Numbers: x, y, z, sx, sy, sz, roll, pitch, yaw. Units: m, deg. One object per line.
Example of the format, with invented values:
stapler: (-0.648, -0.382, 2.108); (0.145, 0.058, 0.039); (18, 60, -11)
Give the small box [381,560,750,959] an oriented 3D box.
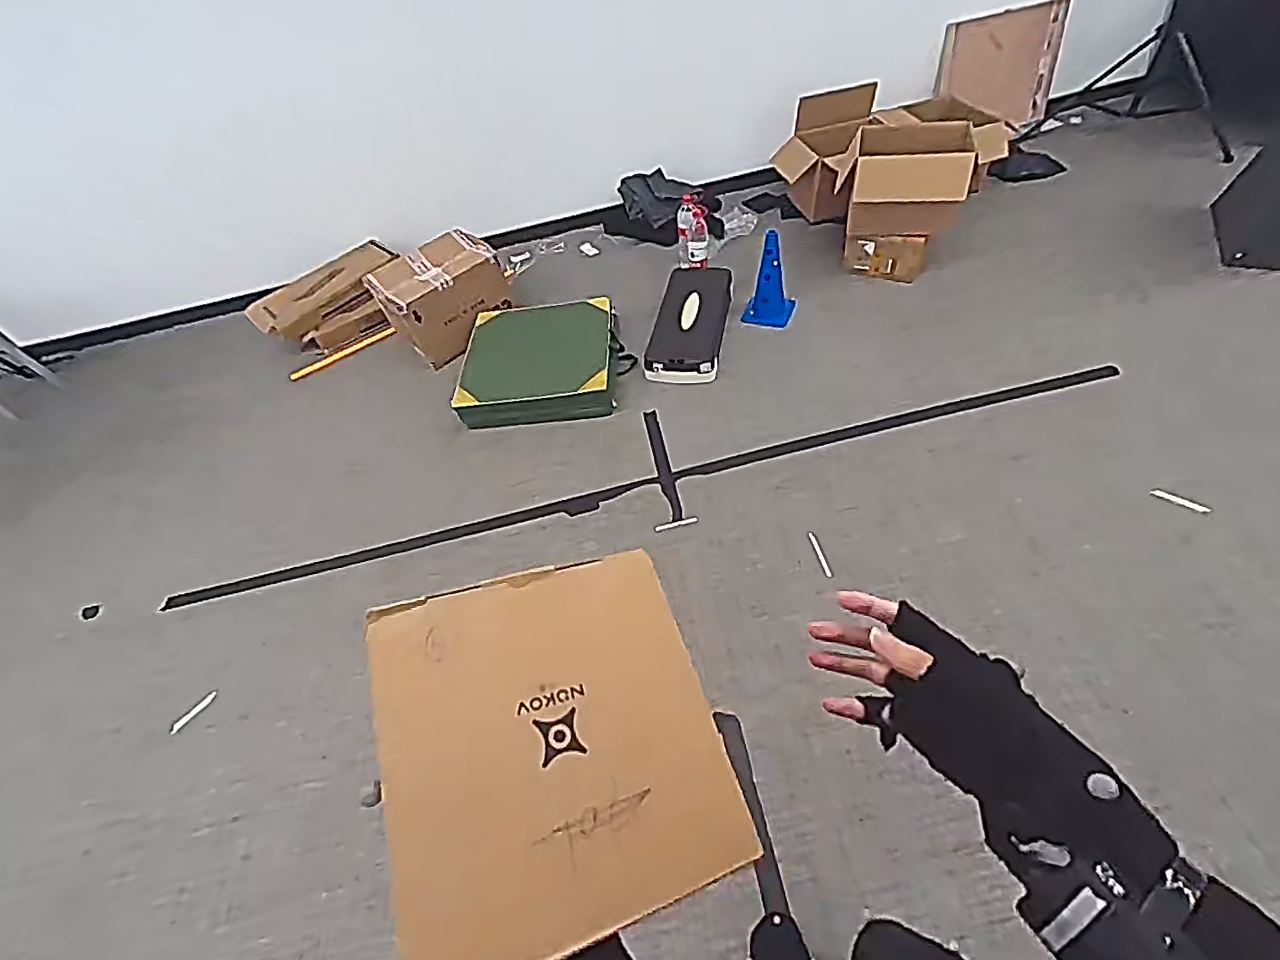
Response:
small box: (-0.063, 0.179, 0.353); (0.168, 0.176, 0.179); (-10, 59, -22)
